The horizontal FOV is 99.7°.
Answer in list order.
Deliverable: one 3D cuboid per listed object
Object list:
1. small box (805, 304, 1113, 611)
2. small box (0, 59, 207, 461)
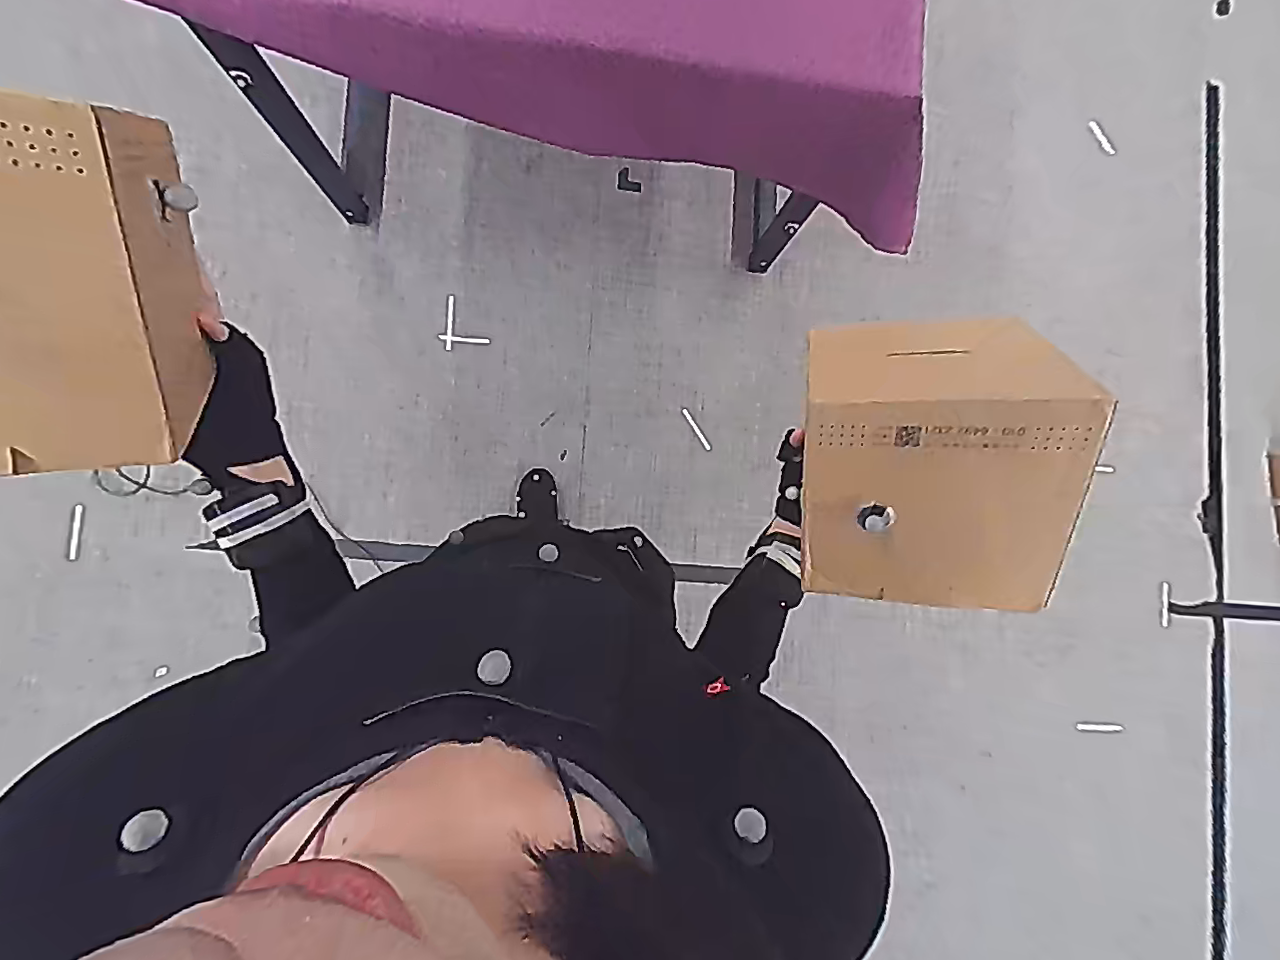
[{"bbox_3d":[0.216,-0.027,0.417,0.168,0.179,0.176,3,122,16],"label":"small box"},{"bbox_3d":[-0.342,-0.117,0.266,0.168,0.179,0.176,-5,119,-29],"label":"small box"}]
